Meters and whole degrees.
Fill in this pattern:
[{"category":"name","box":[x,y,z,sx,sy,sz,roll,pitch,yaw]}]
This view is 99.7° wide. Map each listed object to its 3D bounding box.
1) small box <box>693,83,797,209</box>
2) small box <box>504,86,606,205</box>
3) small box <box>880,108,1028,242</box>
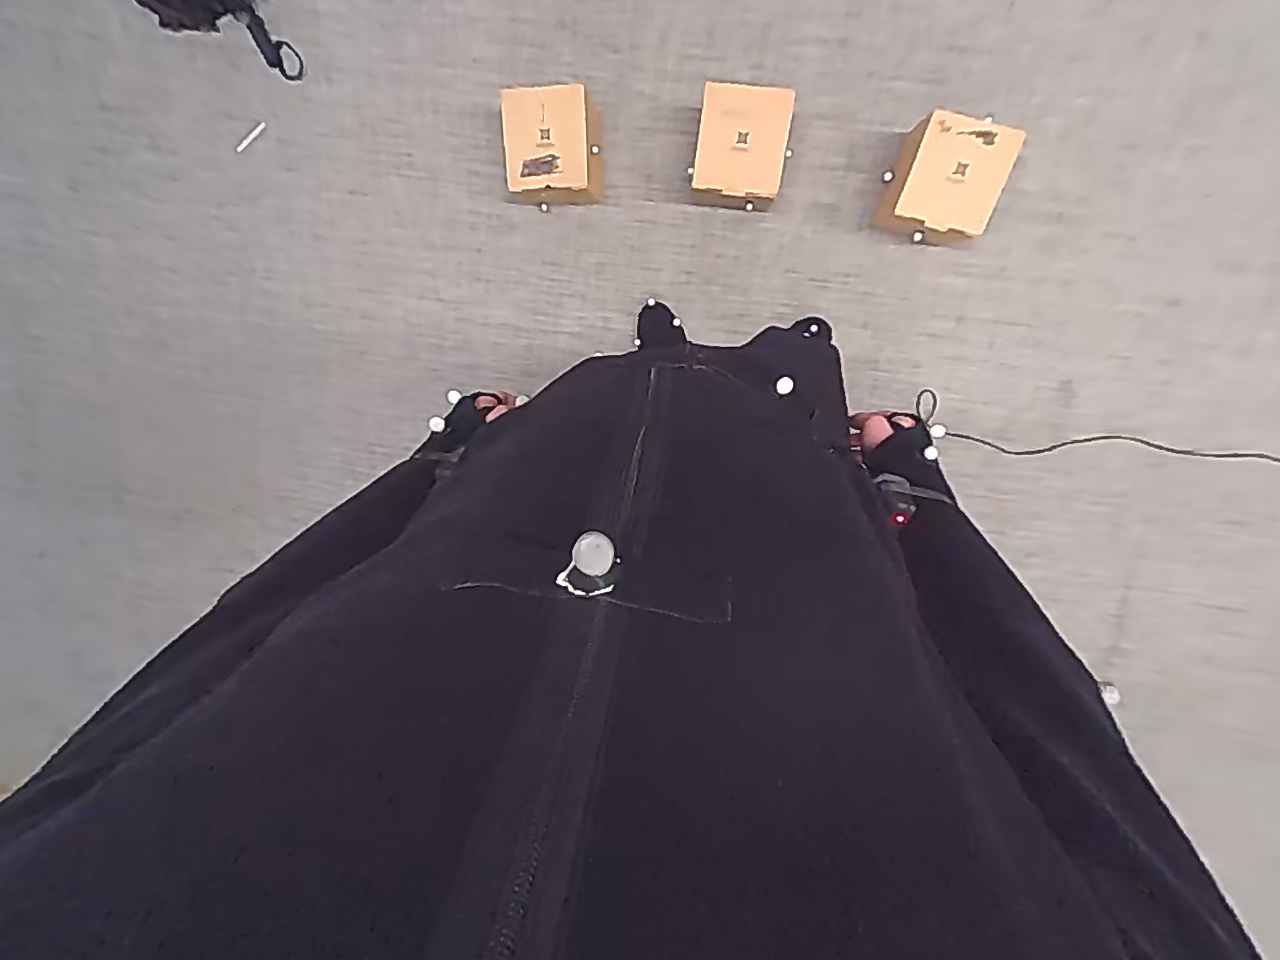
[{"category":"small box","box":[0.202,-0.648,1.071,0.168,0.176,0.179,8,108,5]},{"category":"small box","box":[-0.166,-0.676,1.114,0.168,0.176,0.179,1,107,8]},{"category":"small box","box":[0.582,-0.570,1.037,0.168,0.176,0.179,18,110,3]}]
